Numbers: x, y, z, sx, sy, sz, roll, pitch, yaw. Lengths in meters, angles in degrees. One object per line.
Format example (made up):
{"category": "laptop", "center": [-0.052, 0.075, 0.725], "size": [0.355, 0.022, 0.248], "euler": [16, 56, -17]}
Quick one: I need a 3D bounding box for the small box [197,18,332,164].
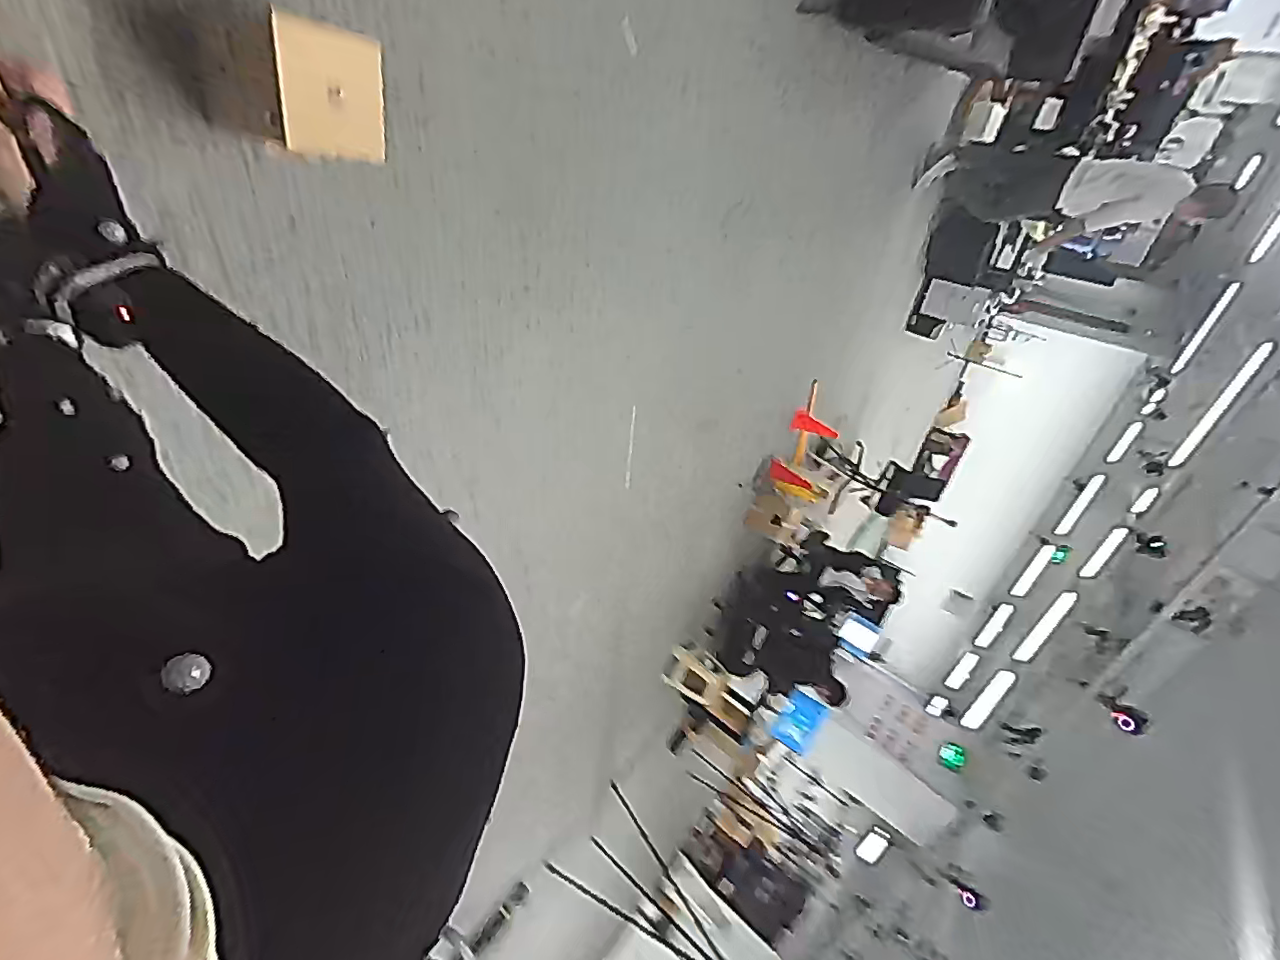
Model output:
{"category": "small box", "center": [-0.689, -0.713, 0.999], "size": [0.168, 0.176, 0.179], "euler": [-16, 130, -48]}

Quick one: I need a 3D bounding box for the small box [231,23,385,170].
{"category": "small box", "center": [-0.562, -0.649, 0.923], "size": [0.168, 0.176, 0.179], "euler": [-25, 136, -47]}

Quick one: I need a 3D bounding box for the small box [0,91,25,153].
{"category": "small box", "center": [-0.582, -0.323, 0.366], "size": [0.168, 0.176, 0.179], "euler": [-31, 132, -40]}
